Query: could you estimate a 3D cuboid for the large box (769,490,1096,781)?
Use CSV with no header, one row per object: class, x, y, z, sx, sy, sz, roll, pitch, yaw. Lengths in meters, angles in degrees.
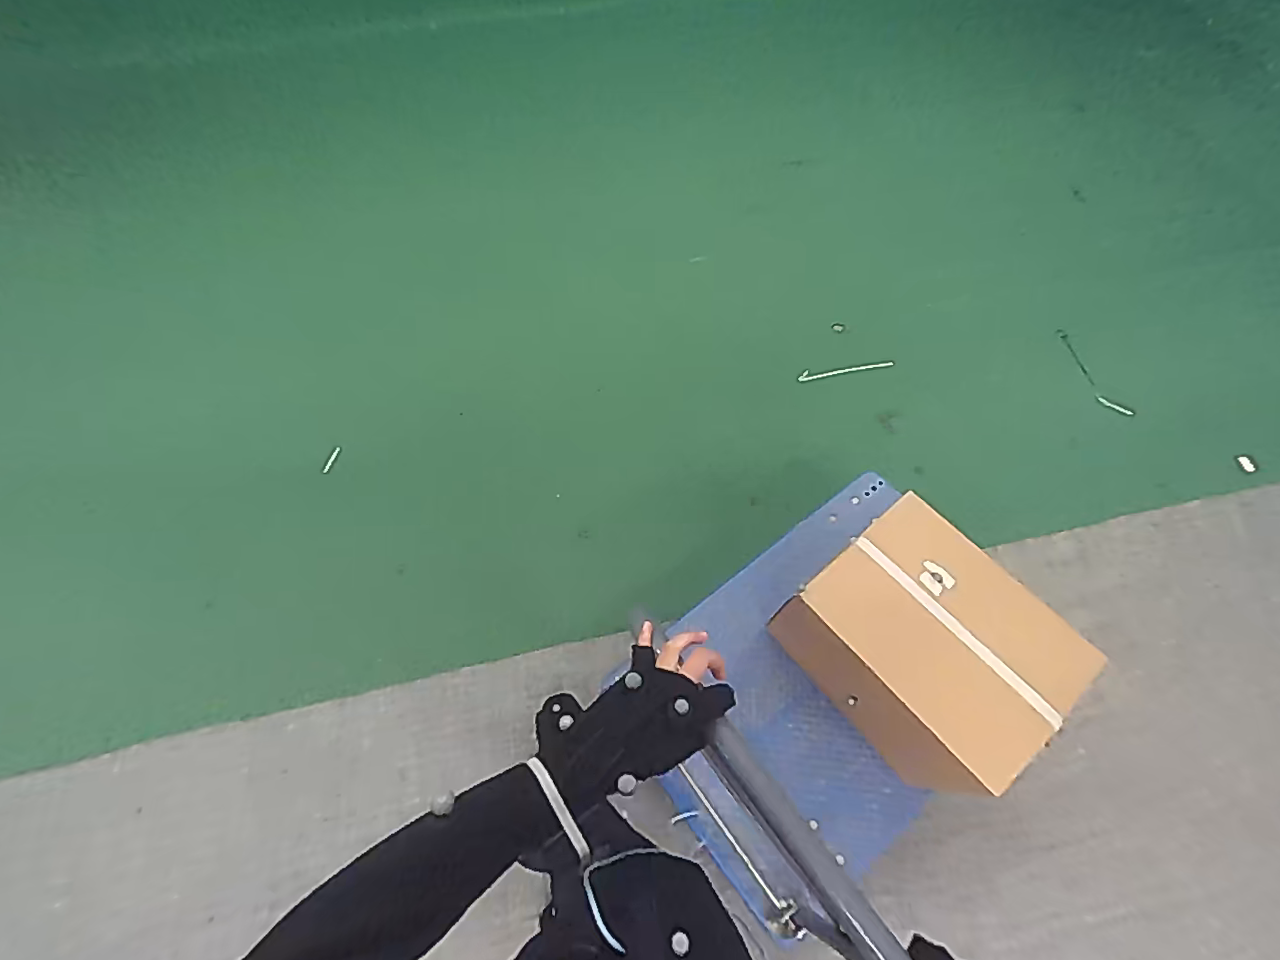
large box,0.523,0.304,1.059,0.320,0.320,0.408,-37,68,-16
